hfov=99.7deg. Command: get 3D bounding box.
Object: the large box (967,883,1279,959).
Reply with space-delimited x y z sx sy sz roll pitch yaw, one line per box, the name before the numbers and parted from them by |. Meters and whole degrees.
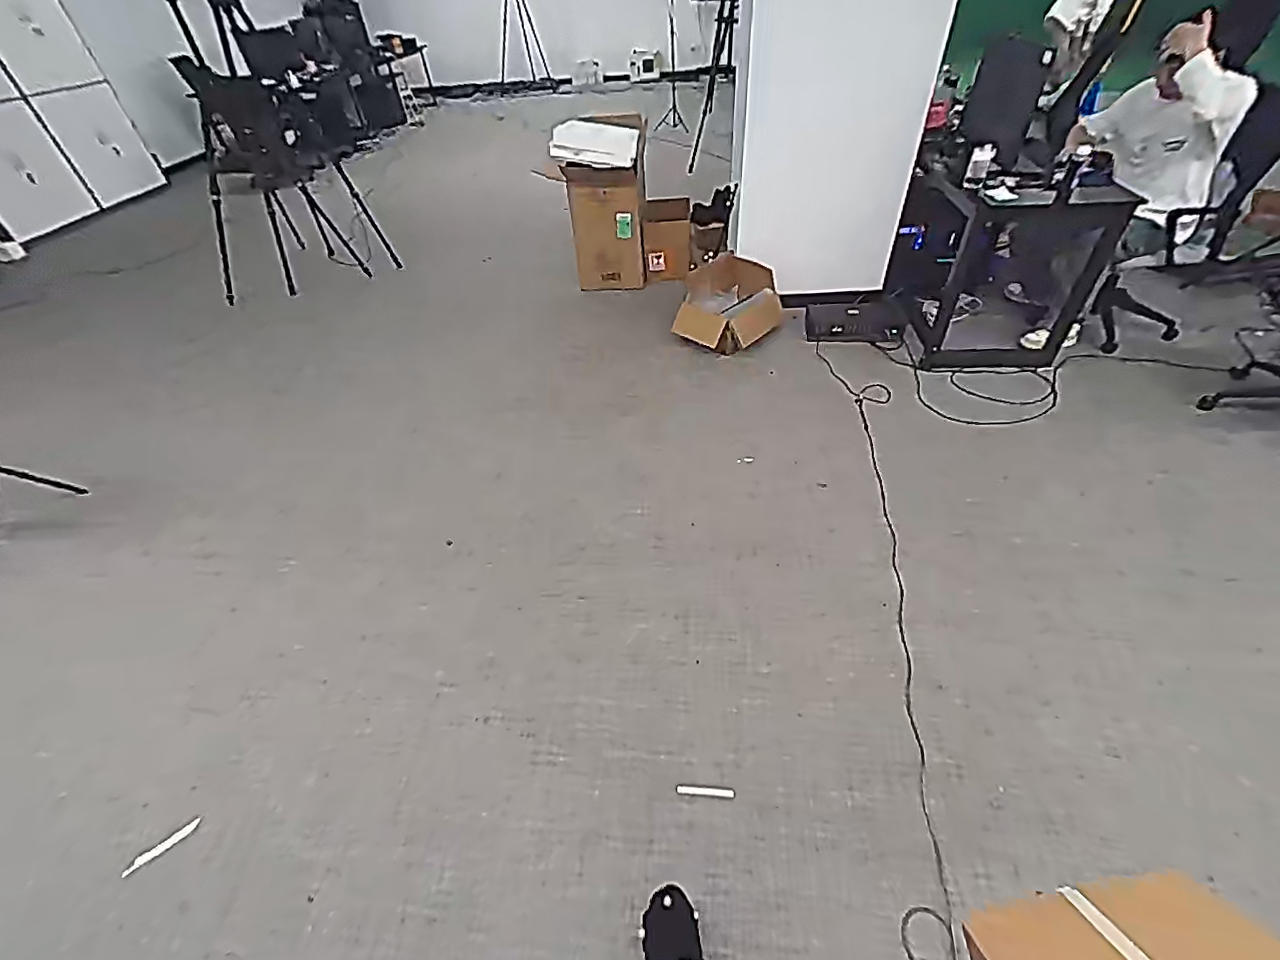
large box | 0.628 0.727 0.552 0.320 0.408 0.320 -14 87 2
